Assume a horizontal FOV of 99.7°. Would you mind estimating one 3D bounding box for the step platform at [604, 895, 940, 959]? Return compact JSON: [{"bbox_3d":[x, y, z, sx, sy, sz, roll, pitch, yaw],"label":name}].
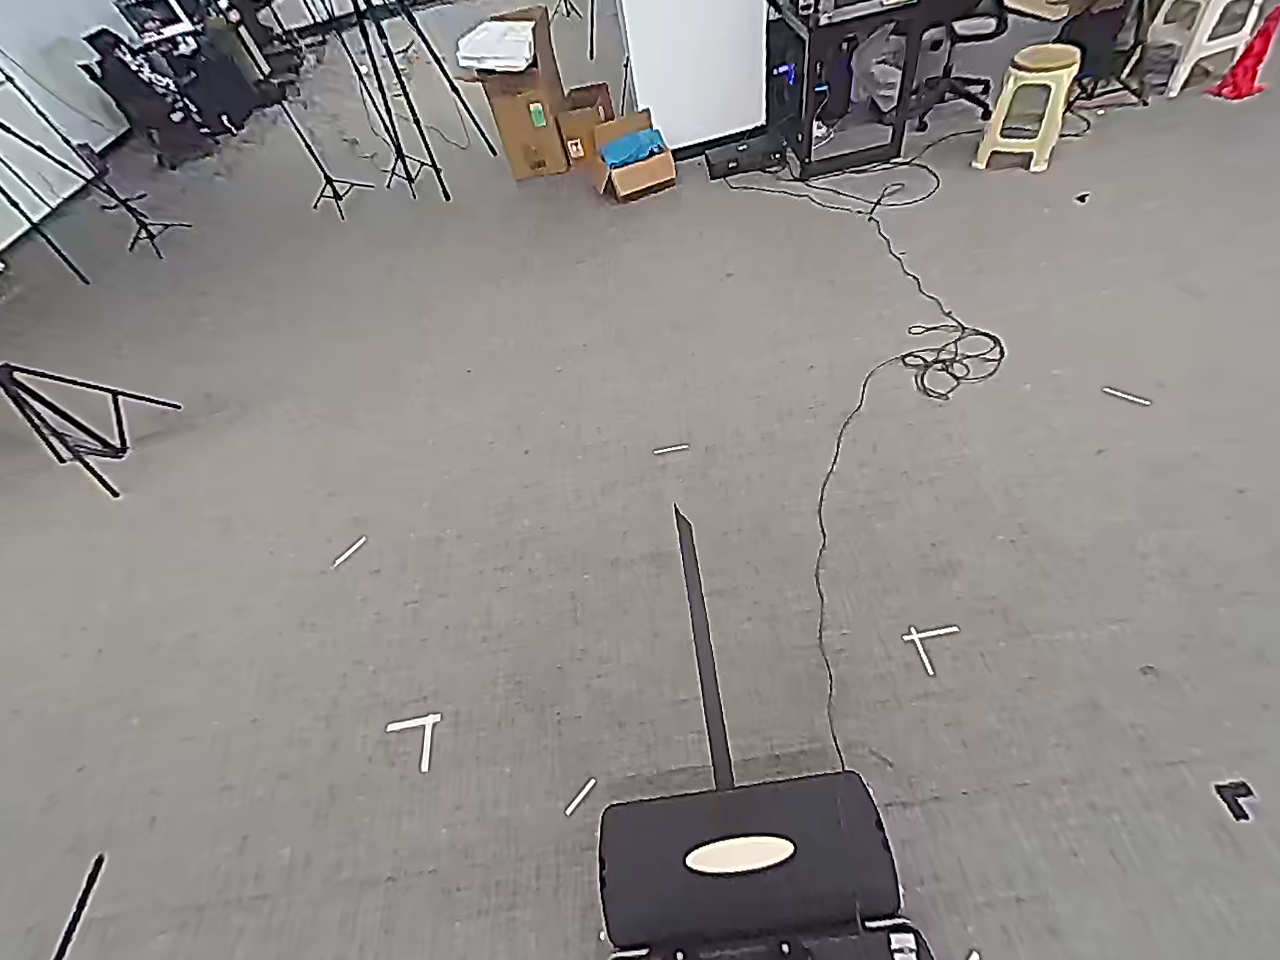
[{"bbox_3d":[0.263,1.047,1.079,0.684,0.204,0.286,-12,51,5],"label":"step platform"}]
